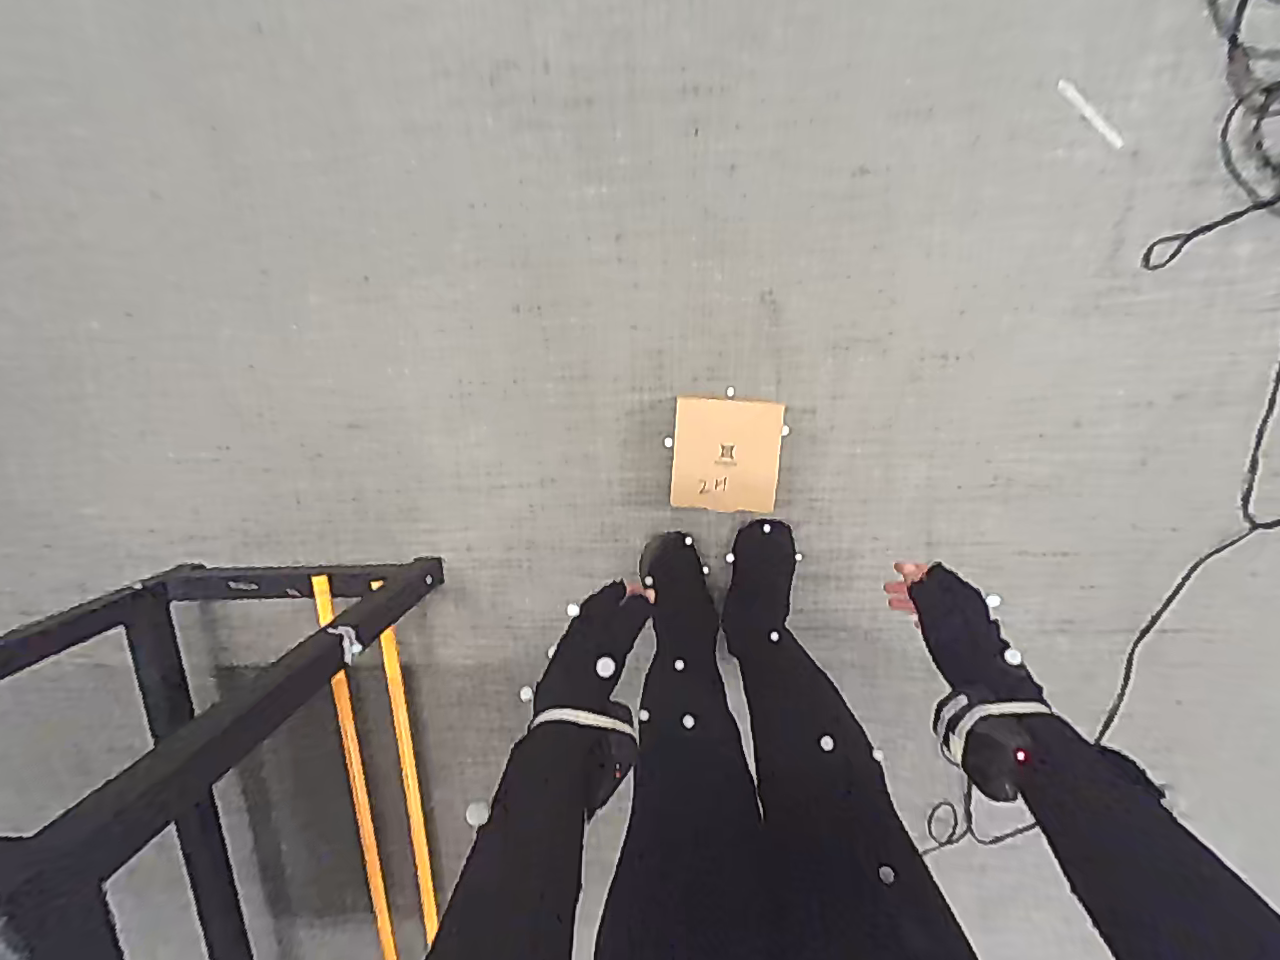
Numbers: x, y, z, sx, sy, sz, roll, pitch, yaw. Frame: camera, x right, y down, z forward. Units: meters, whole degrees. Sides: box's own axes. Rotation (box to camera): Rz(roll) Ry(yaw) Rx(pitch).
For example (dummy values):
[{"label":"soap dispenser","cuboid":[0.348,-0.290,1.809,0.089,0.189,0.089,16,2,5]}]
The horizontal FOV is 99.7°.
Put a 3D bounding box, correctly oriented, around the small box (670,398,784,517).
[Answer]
[{"label":"small box","cuboid":[0.140,-0.047,0.922,0.168,0.176,0.179,4,102,5]}]
